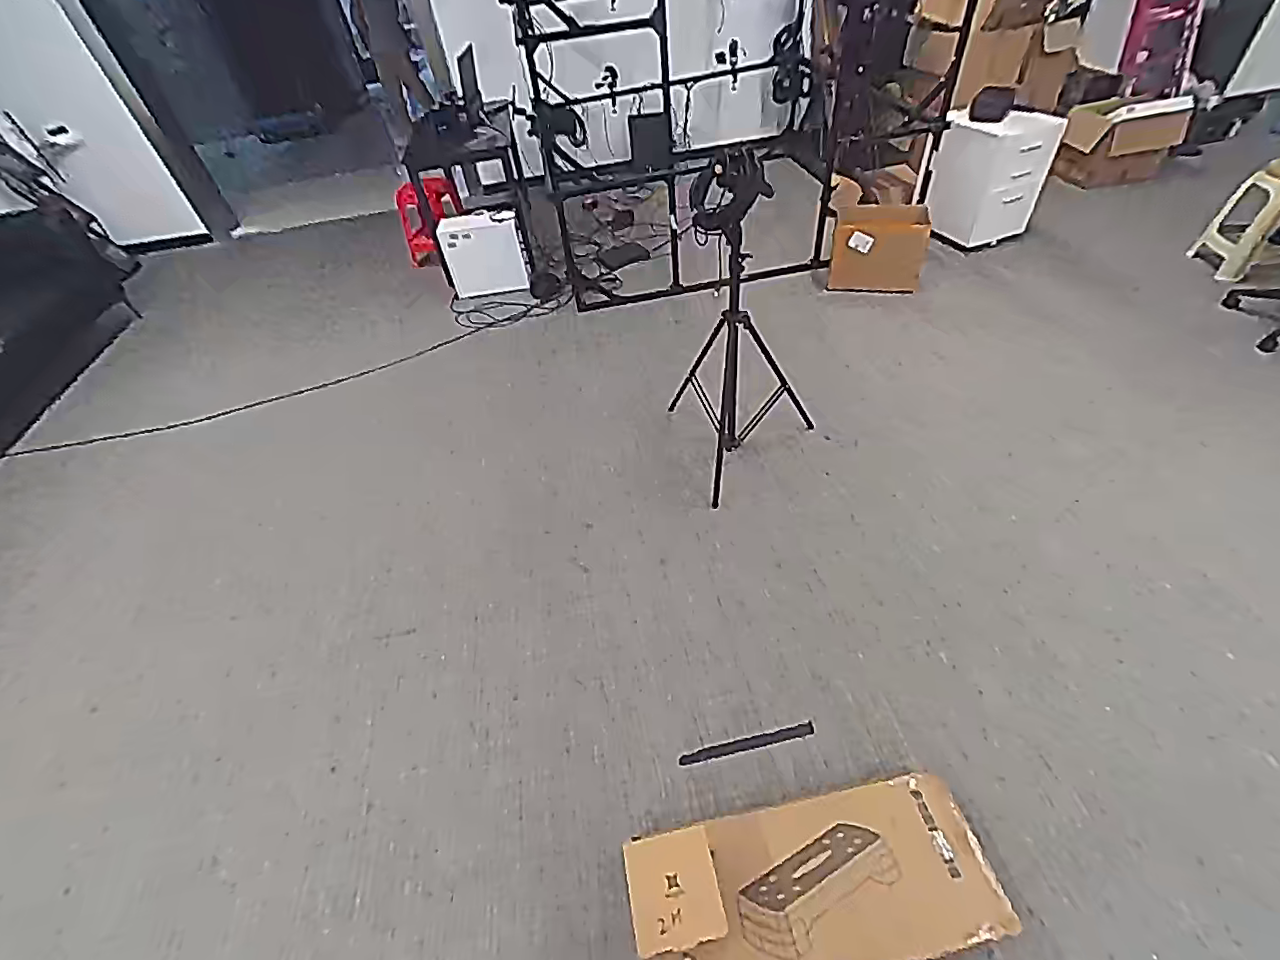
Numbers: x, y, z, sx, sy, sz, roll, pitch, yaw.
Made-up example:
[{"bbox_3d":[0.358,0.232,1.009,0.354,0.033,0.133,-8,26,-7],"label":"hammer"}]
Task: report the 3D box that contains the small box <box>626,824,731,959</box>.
[{"bbox_3d":[0.072,0.807,1.054,0.168,0.176,0.179,-11,45,-3],"label":"small box"}]
